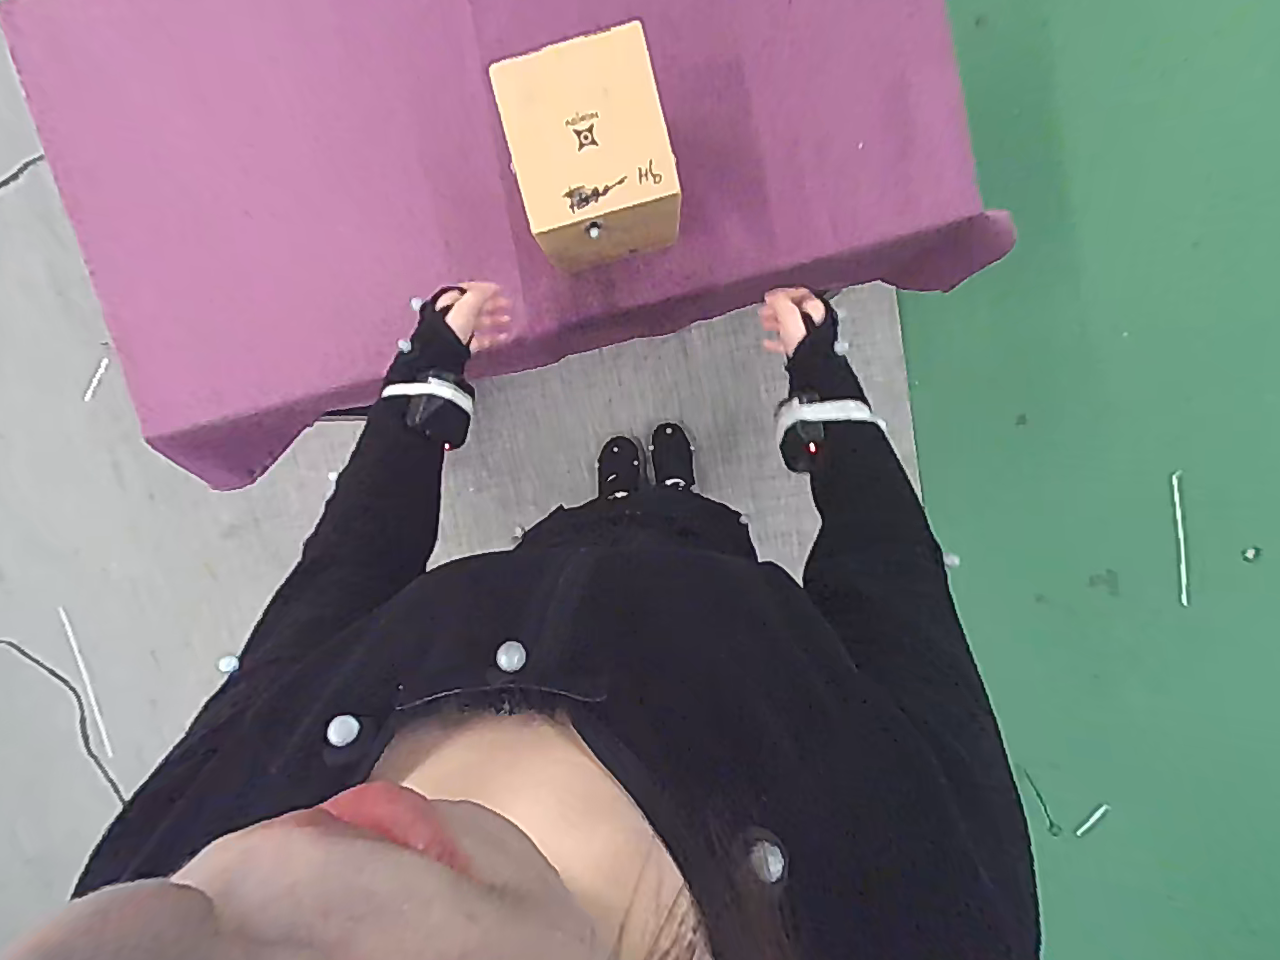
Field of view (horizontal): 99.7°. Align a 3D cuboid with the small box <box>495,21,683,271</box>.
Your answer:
[{"bbox_3d":[-0.050,-0.375,0.642,0.168,0.176,0.179,-14,95,5],"label":"small box"}]
